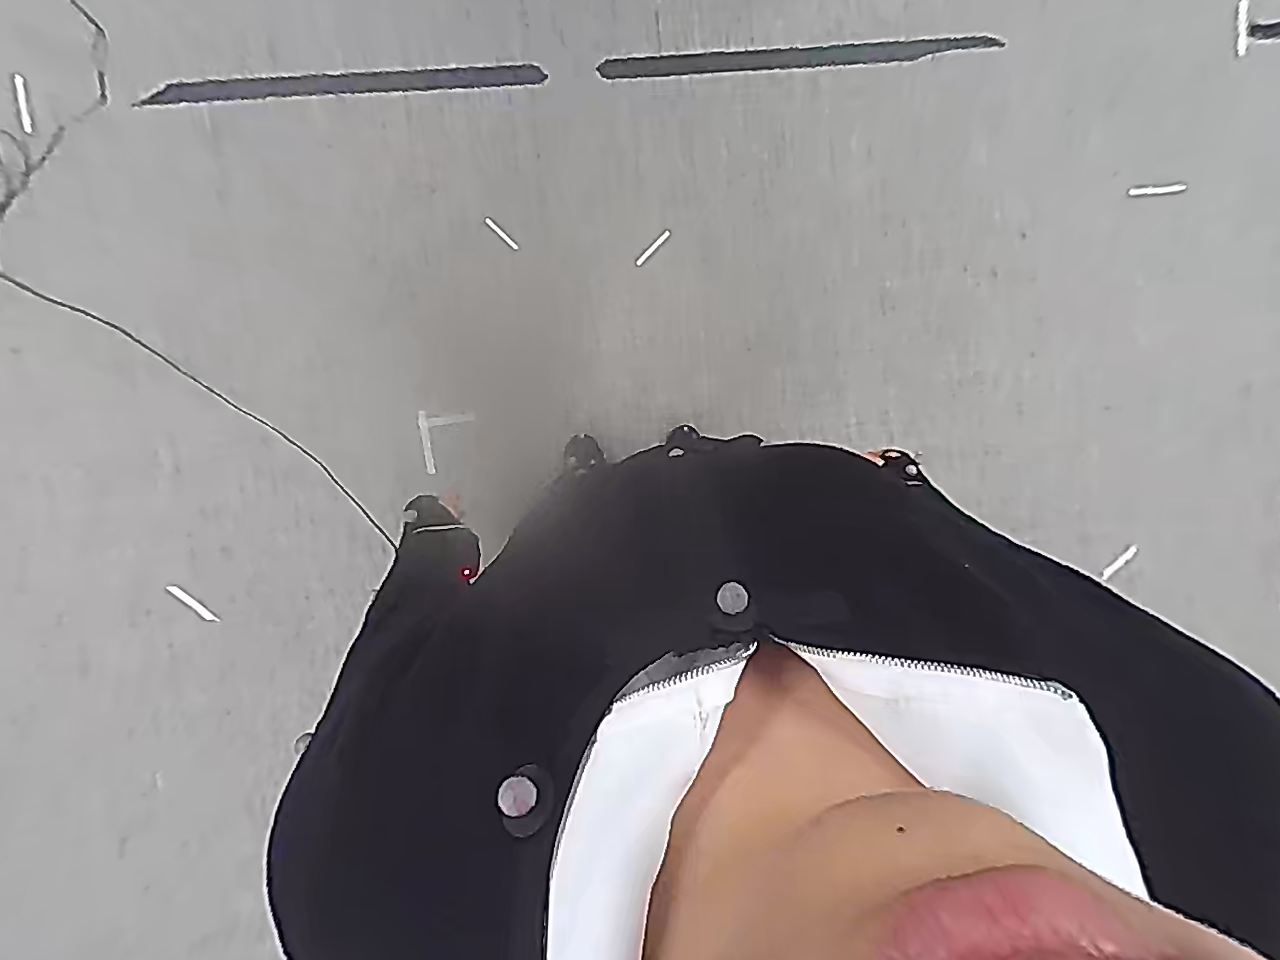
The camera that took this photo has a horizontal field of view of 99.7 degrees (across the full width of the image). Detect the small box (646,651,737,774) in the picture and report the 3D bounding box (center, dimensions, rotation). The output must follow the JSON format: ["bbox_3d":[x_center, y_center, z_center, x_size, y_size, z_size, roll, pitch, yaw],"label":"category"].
[{"bbox_3d":[0.107,0.505,1.192,0.168,0.176,0.179,-11,96,-1],"label":"small box"}]

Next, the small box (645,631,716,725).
[{"bbox_3d":[0.100,0.488,1.355,0.168,0.176,0.179,-4,95,-1],"label":"small box"}]
